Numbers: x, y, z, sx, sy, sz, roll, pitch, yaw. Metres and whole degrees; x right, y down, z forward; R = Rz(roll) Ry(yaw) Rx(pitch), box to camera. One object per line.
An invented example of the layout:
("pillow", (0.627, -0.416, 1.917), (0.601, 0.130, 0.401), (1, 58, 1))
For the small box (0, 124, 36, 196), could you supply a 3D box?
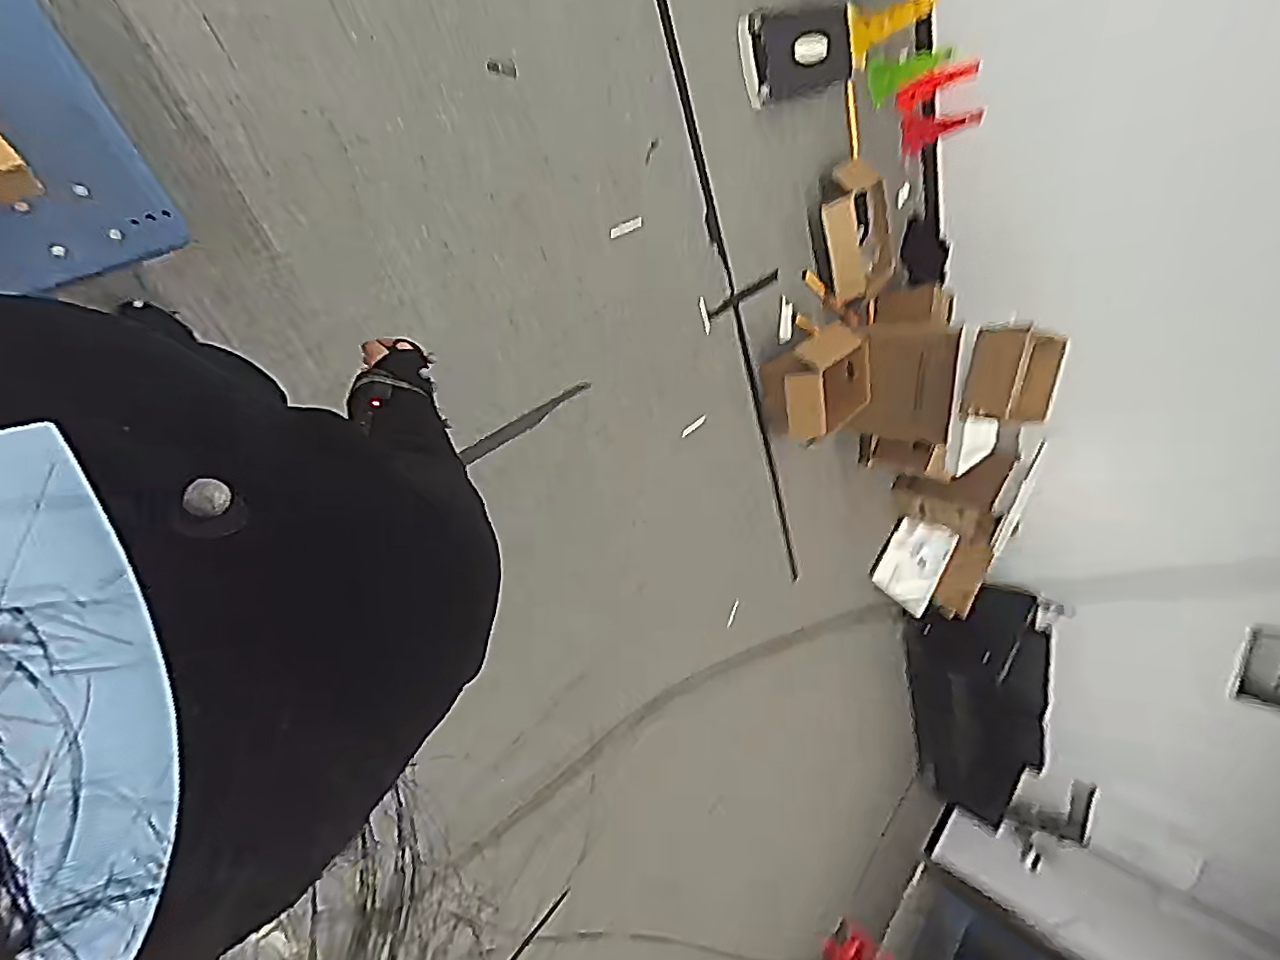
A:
("small box", (-0.968, -0.473, 0.709), (0.168, 0.176, 0.179), (-42, 126, -27))
